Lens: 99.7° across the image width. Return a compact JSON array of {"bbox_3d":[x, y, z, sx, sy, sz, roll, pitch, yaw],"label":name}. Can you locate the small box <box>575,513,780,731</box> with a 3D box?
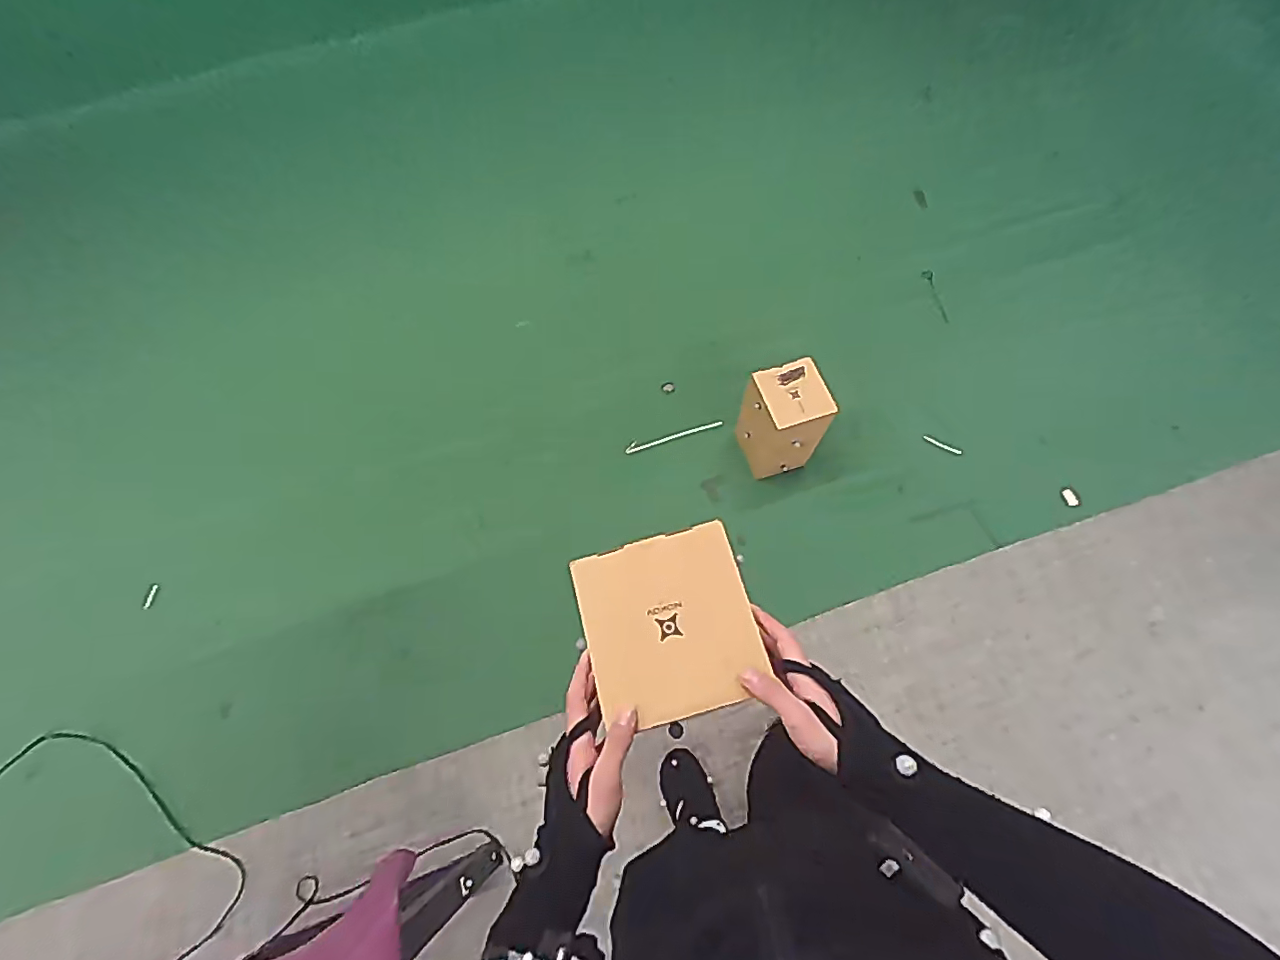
[{"bbox_3d":[0.039,0.160,0.600,0.168,0.176,0.179,-16,67,-2],"label":"small box"}]

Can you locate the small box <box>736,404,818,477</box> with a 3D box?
[{"bbox_3d":[0.397,-0.132,1.603,0.168,0.176,0.179,-17,69,-5],"label":"small box"}]

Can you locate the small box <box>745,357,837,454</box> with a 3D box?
[{"bbox_3d":[0.394,-0.195,1.451,0.168,0.176,0.179,-17,69,-5],"label":"small box"}]
